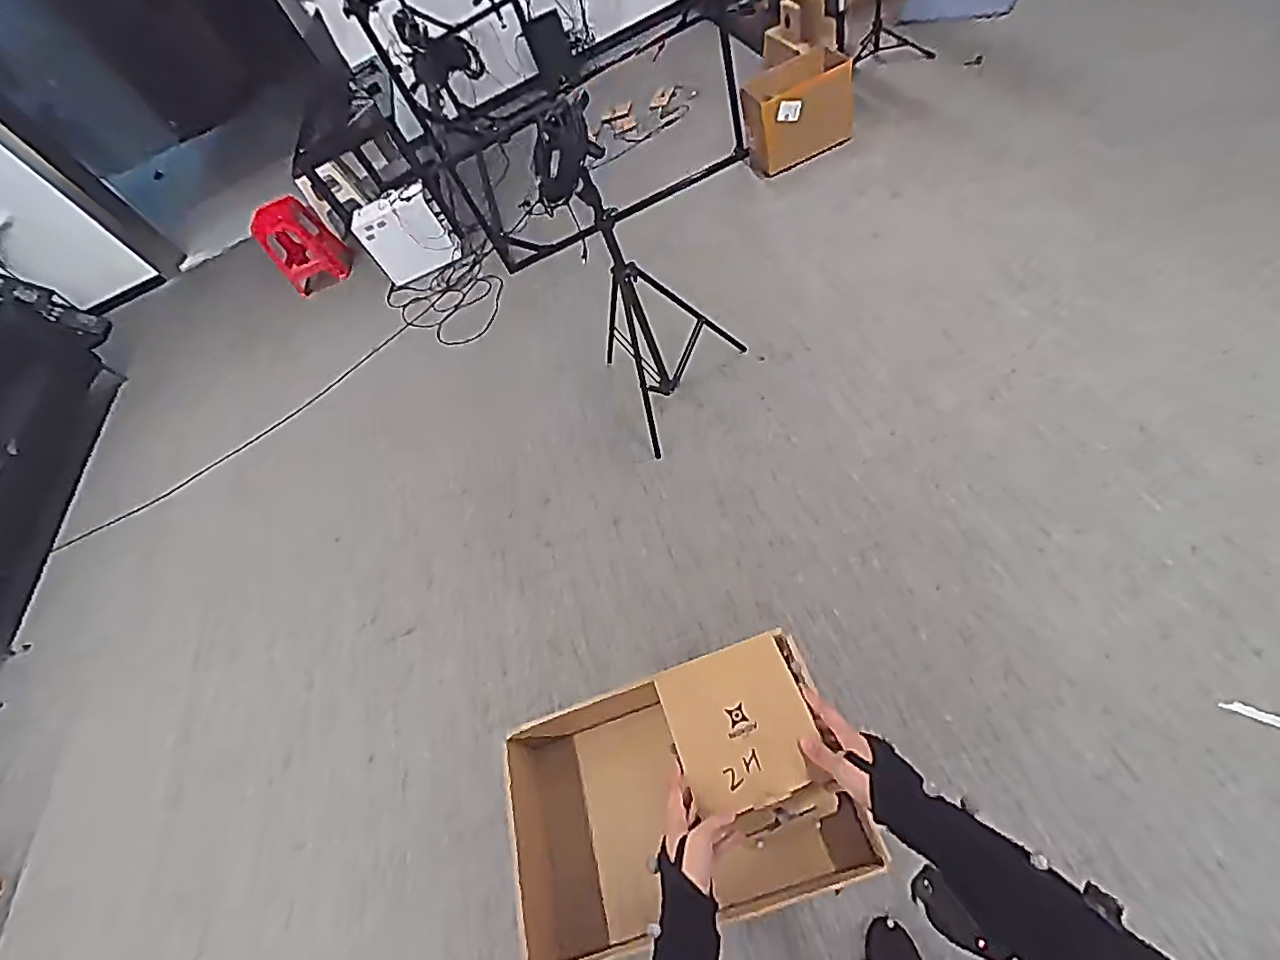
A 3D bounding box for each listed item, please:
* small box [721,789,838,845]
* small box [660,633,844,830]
[{"bbox_3d":[0.188,0.433,0.831,0.168,0.176,0.179,-24,53,3],"label":"small box"},{"bbox_3d":[0.145,0.333,0.707,0.168,0.176,0.179,-25,54,3],"label":"small box"}]
